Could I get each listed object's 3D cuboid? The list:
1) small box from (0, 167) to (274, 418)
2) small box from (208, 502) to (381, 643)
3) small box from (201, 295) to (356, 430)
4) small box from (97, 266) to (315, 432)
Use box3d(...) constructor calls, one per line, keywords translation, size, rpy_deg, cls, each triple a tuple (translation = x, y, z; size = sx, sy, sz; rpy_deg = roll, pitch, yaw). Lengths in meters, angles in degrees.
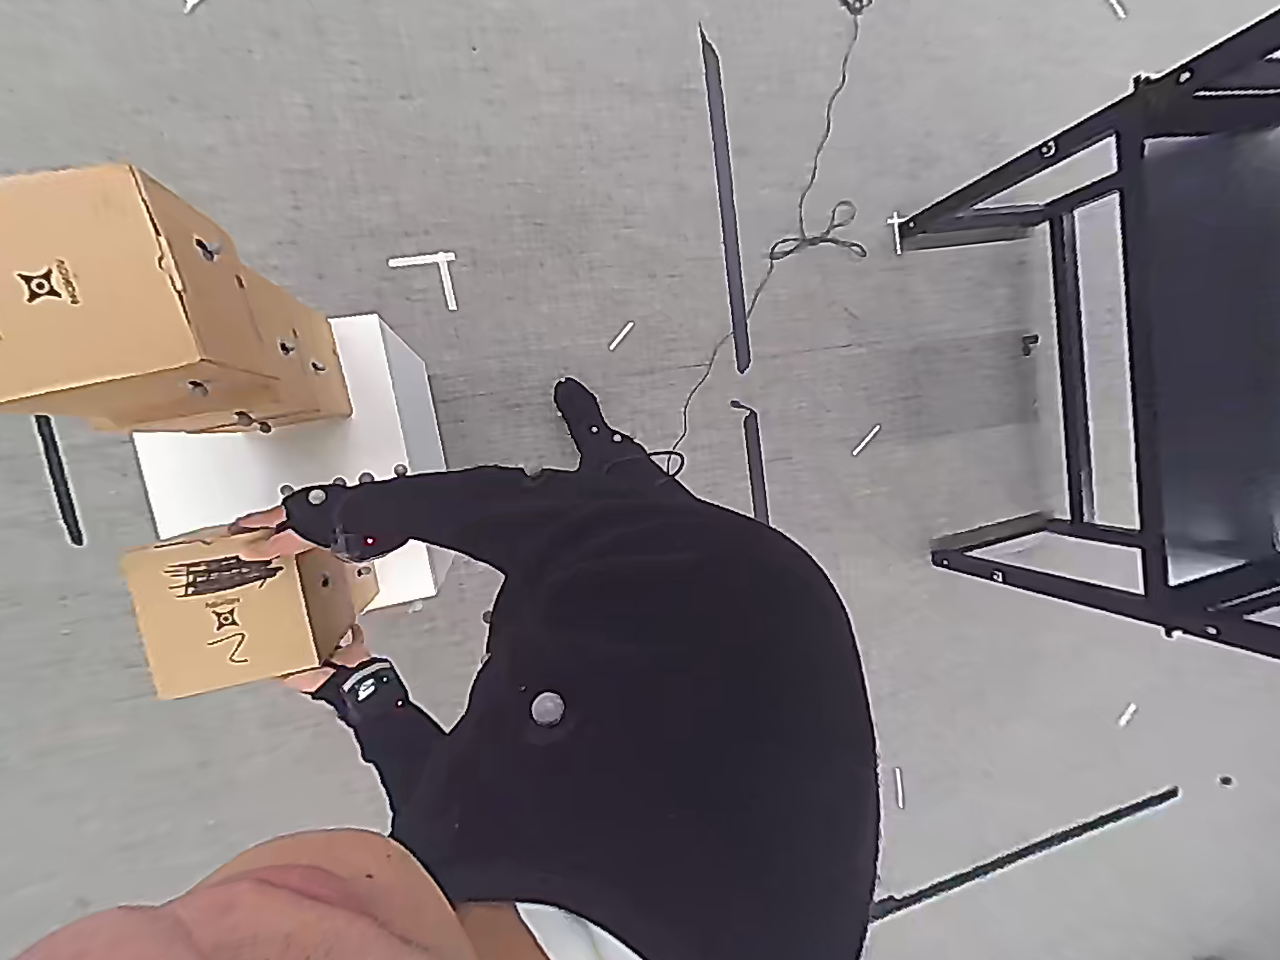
box3d(translation=(-0.480, -0.159, 0.506), size=(0.179, 0.176, 0.168), rpy_deg=(-17, 98, -11), cls="small box")
box3d(translation=(-0.528, 0.135, 0.859), size=(0.179, 0.176, 0.168), rpy_deg=(-10, 96, -12), cls="small box")
box3d(translation=(-0.565, -0.170, 0.823), size=(0.179, 0.176, 0.168), rpy_deg=(-12, 98, -12), cls="small box")
box3d(translation=(-0.527, -0.156, 0.663), size=(0.179, 0.176, 0.168), rpy_deg=(-12, 98, -12), cls="small box")
